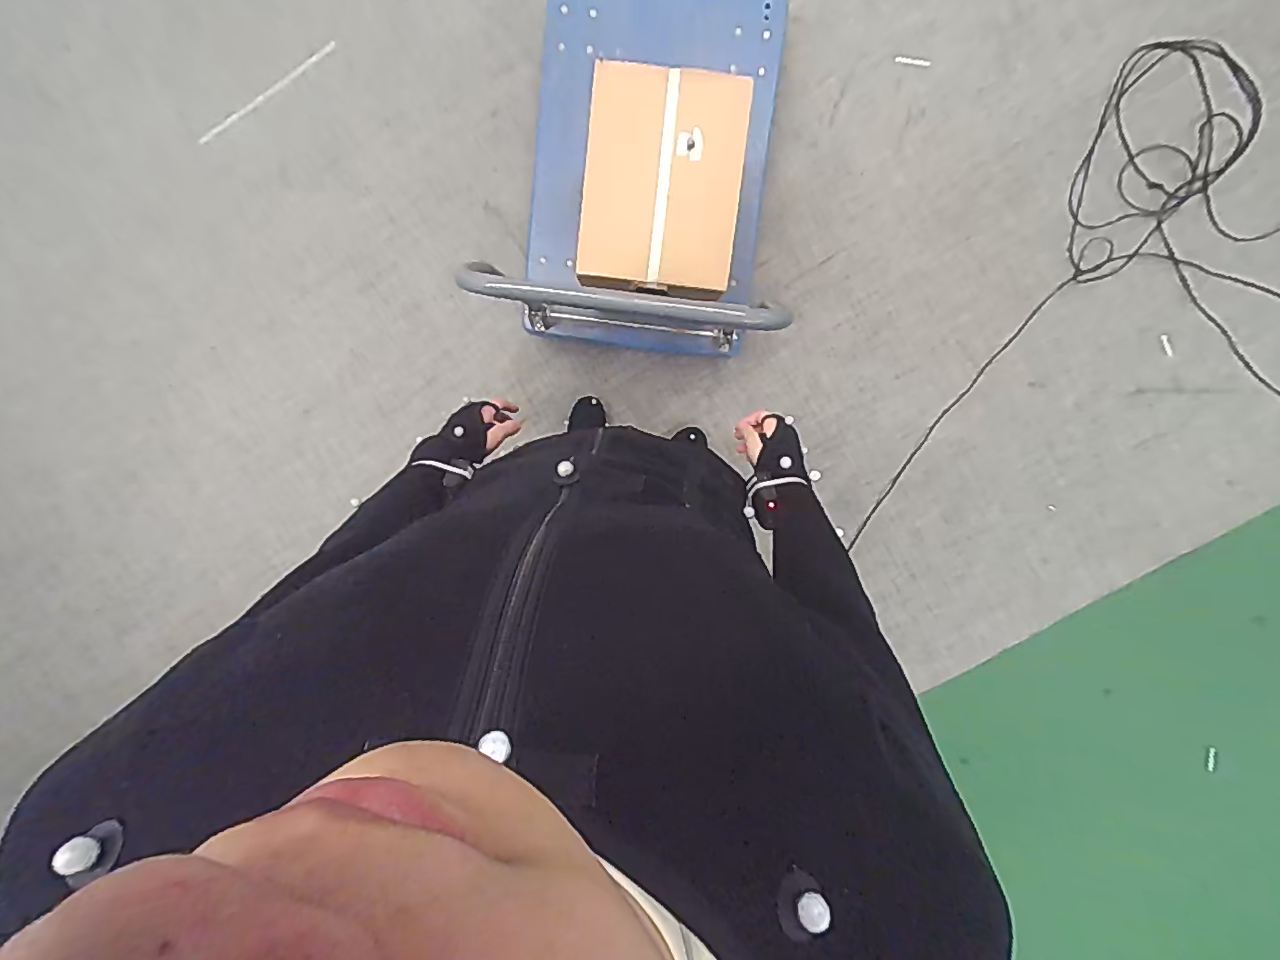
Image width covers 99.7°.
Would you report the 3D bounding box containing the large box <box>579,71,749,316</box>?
[{"bbox_3d":[0.047,-0.618,1.243,0.320,0.320,0.408,7,97,-1],"label":"large box"}]
